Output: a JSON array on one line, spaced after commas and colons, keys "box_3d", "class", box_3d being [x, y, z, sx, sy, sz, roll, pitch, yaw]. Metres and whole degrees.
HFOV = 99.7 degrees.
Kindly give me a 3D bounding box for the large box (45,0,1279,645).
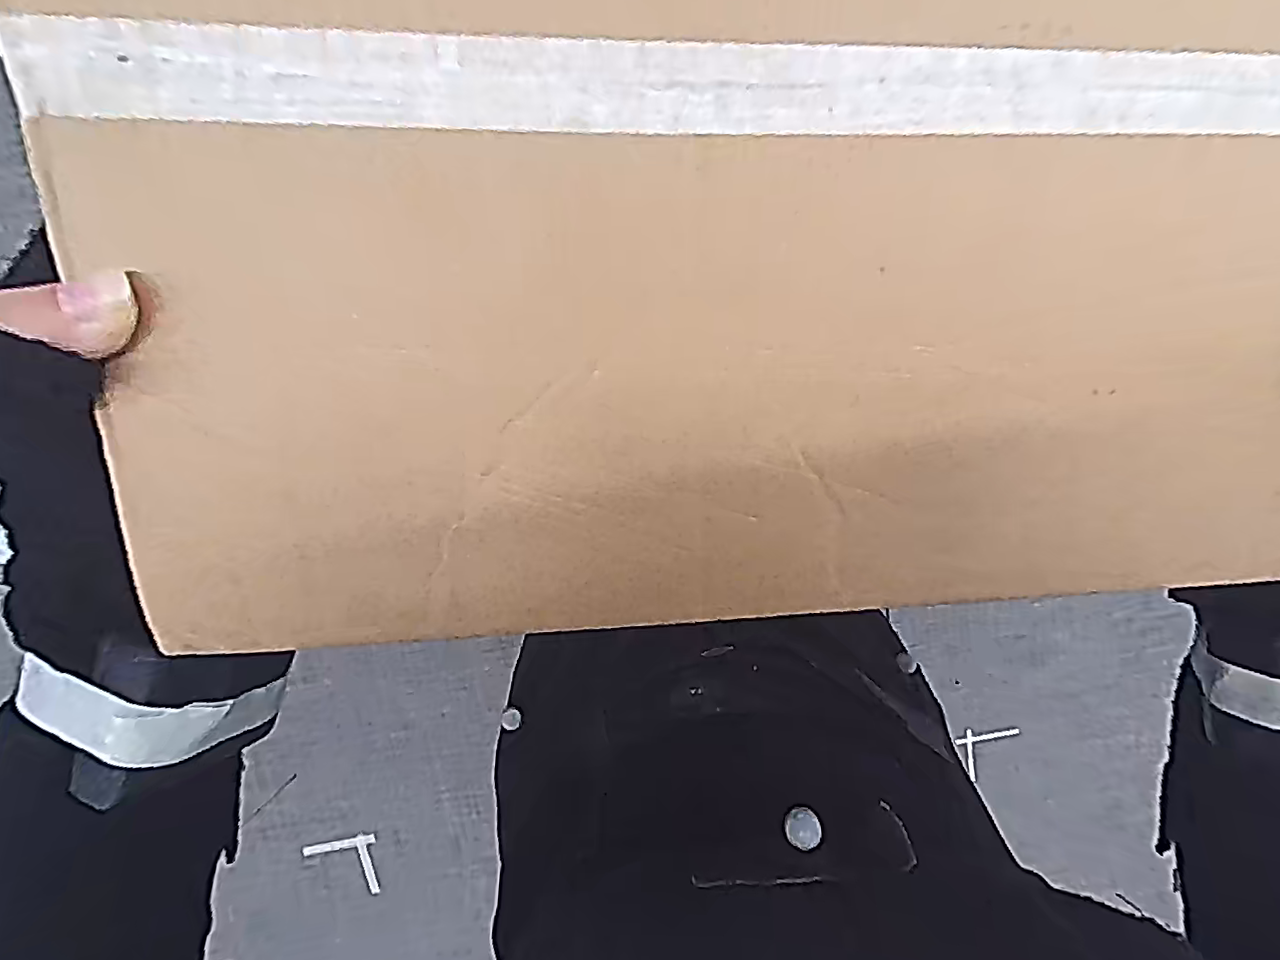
[{"box_3d": [0.034, -0.140, 0.307, 0.408, 0.320, 0.320, -3, 103, -6], "class": "large box"}]
